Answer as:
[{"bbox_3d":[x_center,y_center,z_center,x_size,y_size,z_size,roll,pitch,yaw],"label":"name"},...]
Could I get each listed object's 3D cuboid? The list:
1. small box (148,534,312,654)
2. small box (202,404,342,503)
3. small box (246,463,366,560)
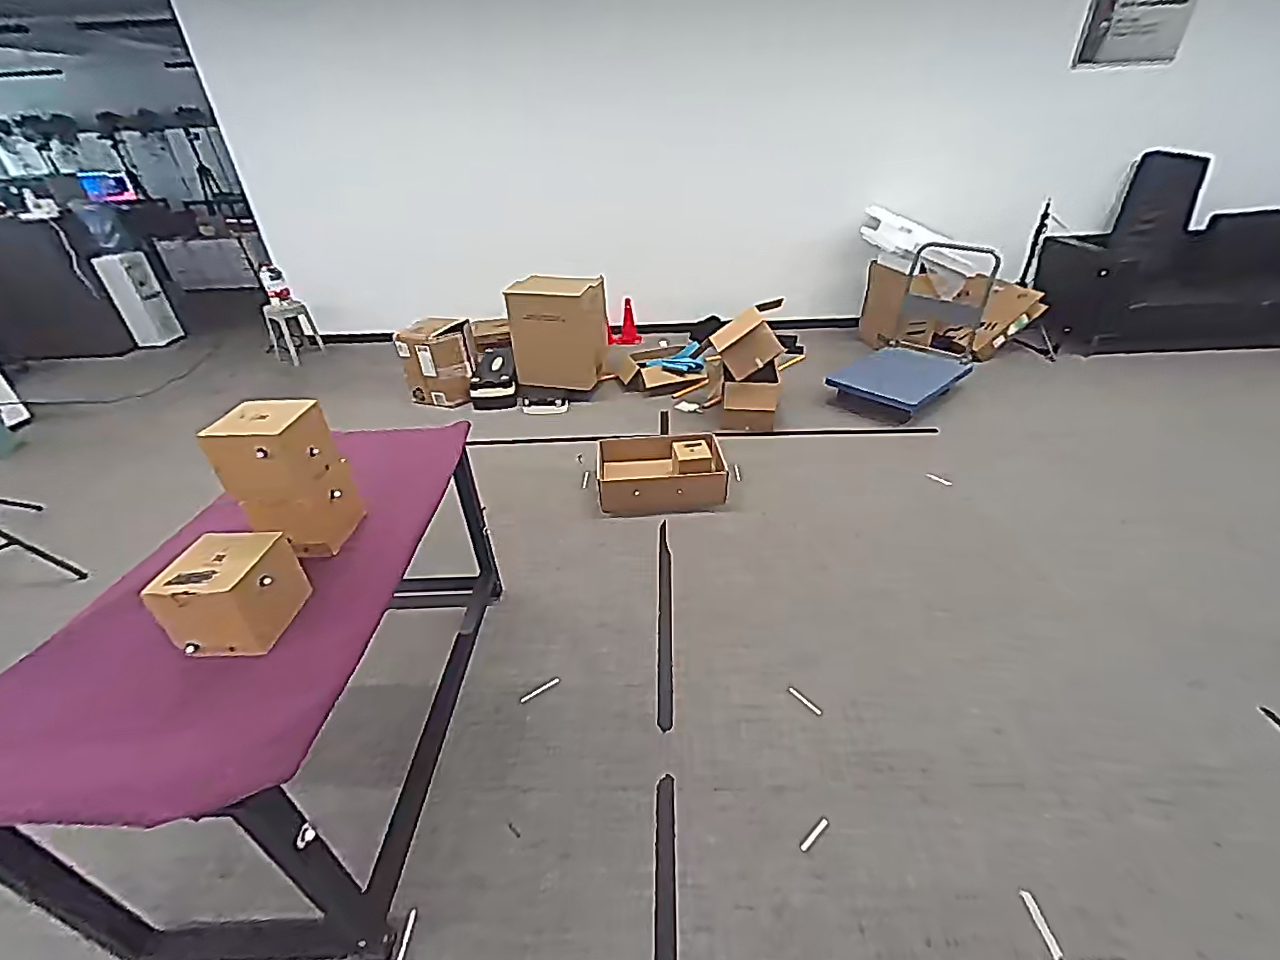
[{"bbox_3d":[-0.792,0.228,1.072,0.168,0.176,0.179,-1,32,2],"label":"small box"},{"bbox_3d":[-0.811,-0.059,1.218,0.179,0.176,0.168,-2,33,3],"label":"small box"},{"bbox_3d":[-0.796,0.075,1.313,0.168,0.176,0.179,-1,33,3],"label":"small box"}]
